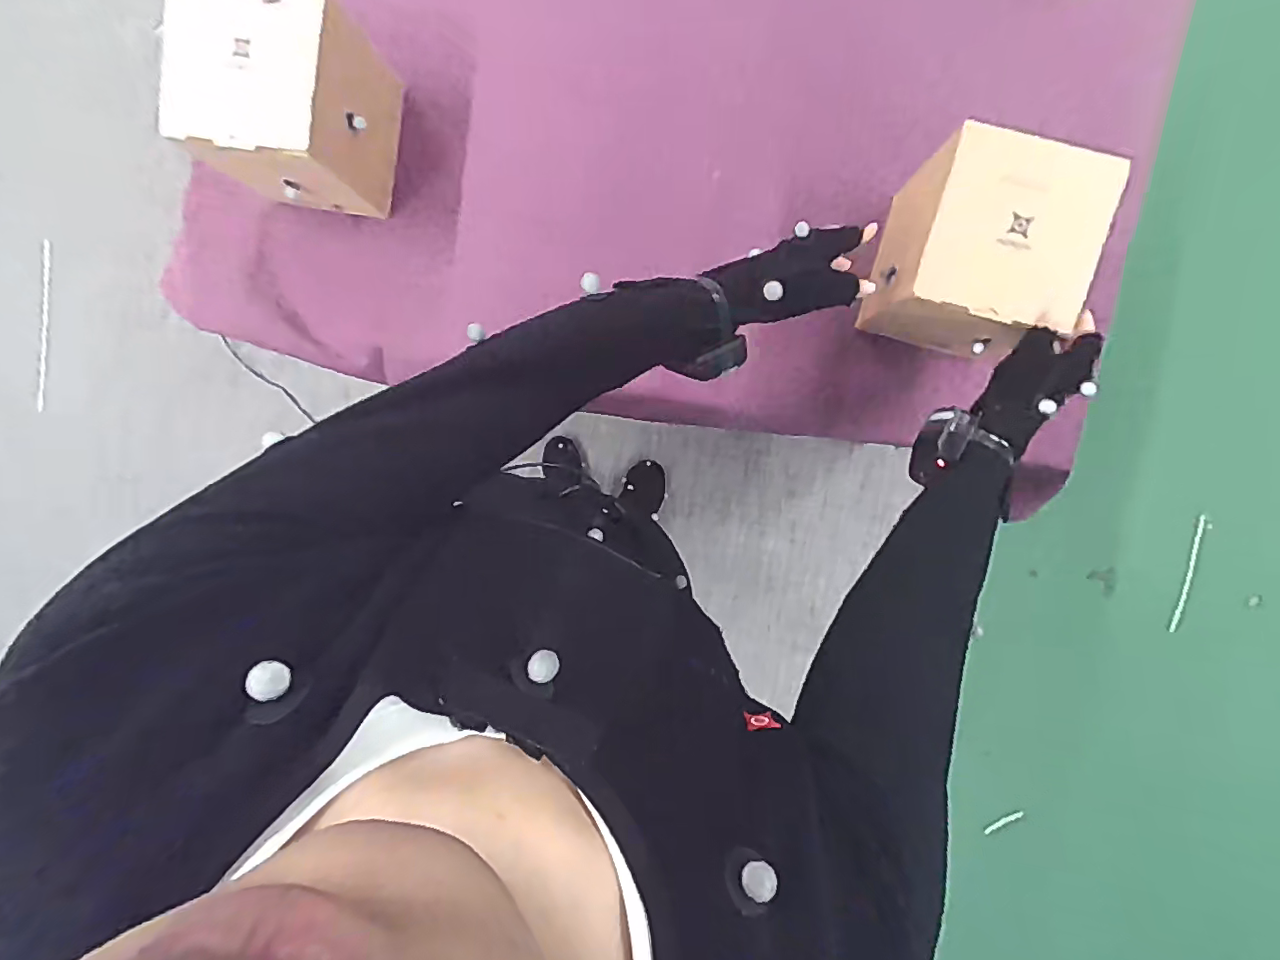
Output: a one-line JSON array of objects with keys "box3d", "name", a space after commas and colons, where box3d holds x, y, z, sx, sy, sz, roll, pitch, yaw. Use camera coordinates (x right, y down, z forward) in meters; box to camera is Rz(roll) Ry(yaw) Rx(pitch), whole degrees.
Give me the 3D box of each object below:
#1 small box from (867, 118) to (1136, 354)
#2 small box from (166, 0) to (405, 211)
[{"box3d": [0.379, -0.253, 0.607, 0.168, 0.176, 0.179, 16, 95, 2], "name": "small box"}, {"box3d": [-0.398, -0.441, 0.633, 0.168, 0.176, 0.179, 9, 96, 2], "name": "small box"}]
